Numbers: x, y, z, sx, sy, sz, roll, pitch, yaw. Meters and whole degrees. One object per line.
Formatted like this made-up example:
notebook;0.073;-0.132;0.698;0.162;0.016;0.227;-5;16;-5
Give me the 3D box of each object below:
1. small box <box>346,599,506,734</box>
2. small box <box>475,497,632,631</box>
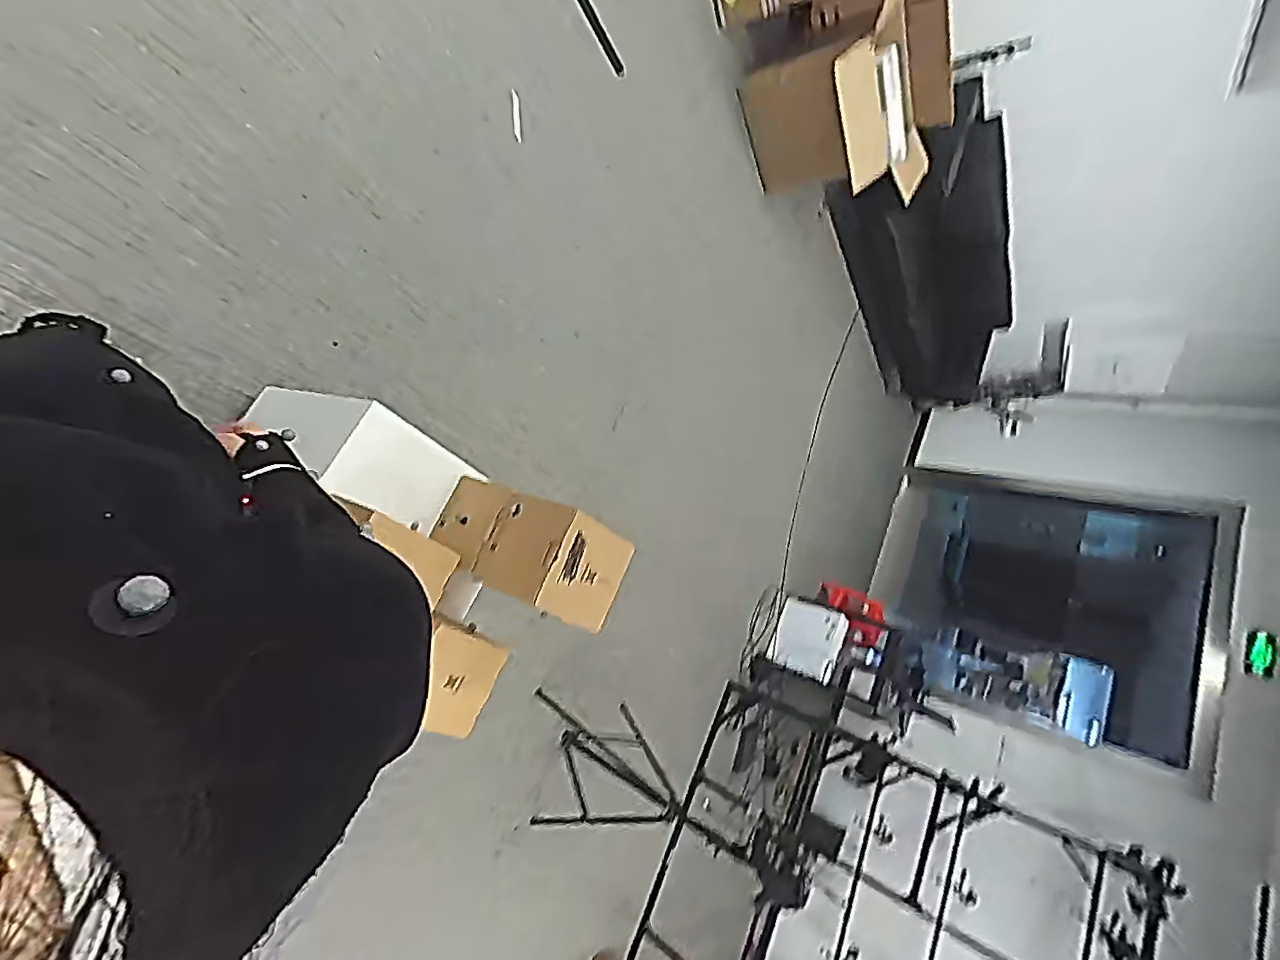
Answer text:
small box;-0.386;0.329;0.974;0.179;0.176;0.168;45;64;-46
small box;-0.152;0.140;0.944;0.179;0.176;0.168;41;68;-47
